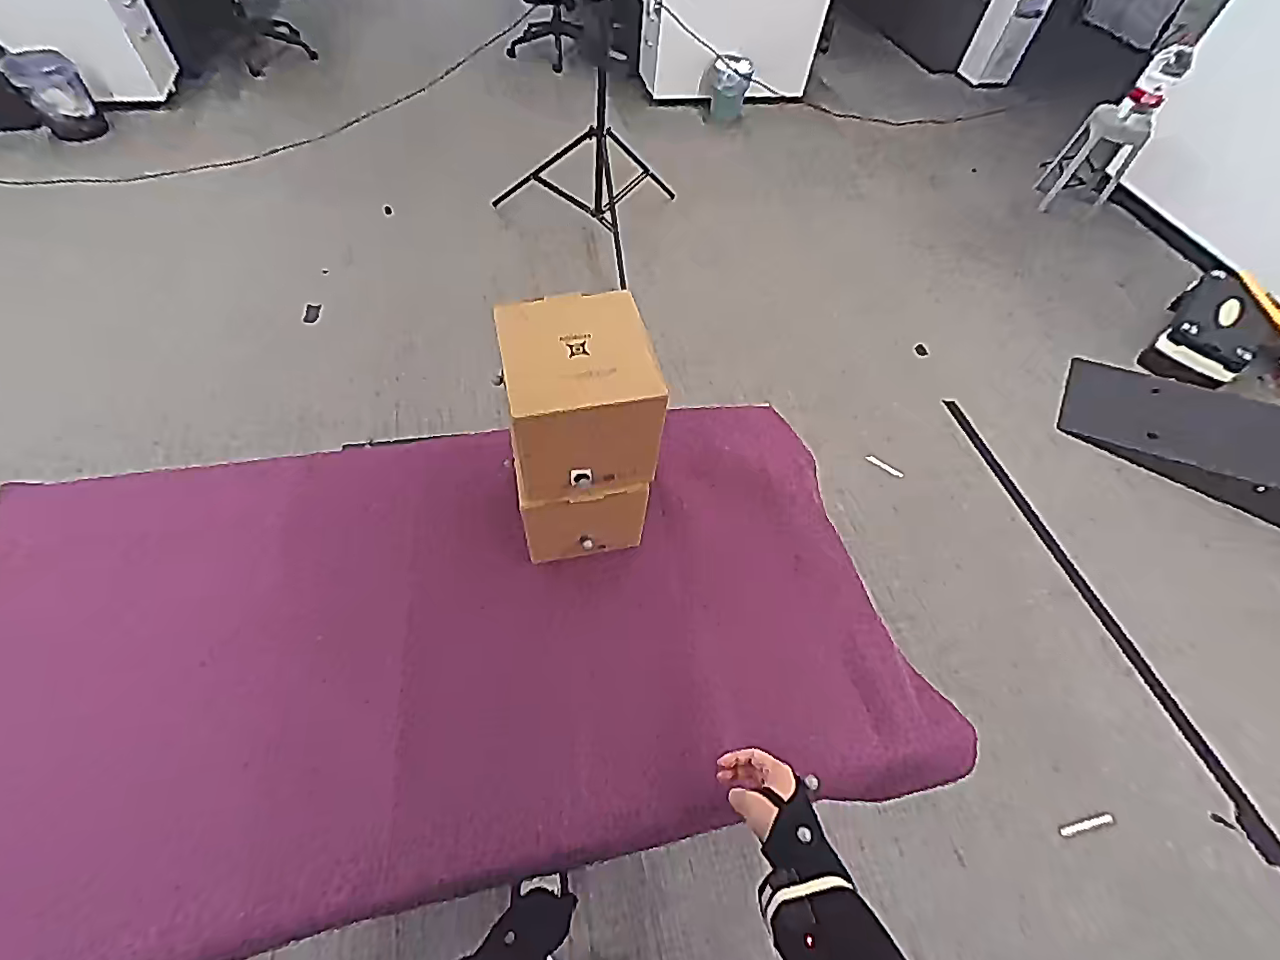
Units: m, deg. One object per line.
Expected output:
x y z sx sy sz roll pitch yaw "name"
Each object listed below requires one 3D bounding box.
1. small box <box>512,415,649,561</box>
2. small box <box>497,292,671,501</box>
-0.092 -0.004 0.790 0.168 0.176 0.179 -8 58 -11 "small box"
-0.073 -0.099 0.660 0.168 0.176 0.179 -11 59 -12 "small box"
